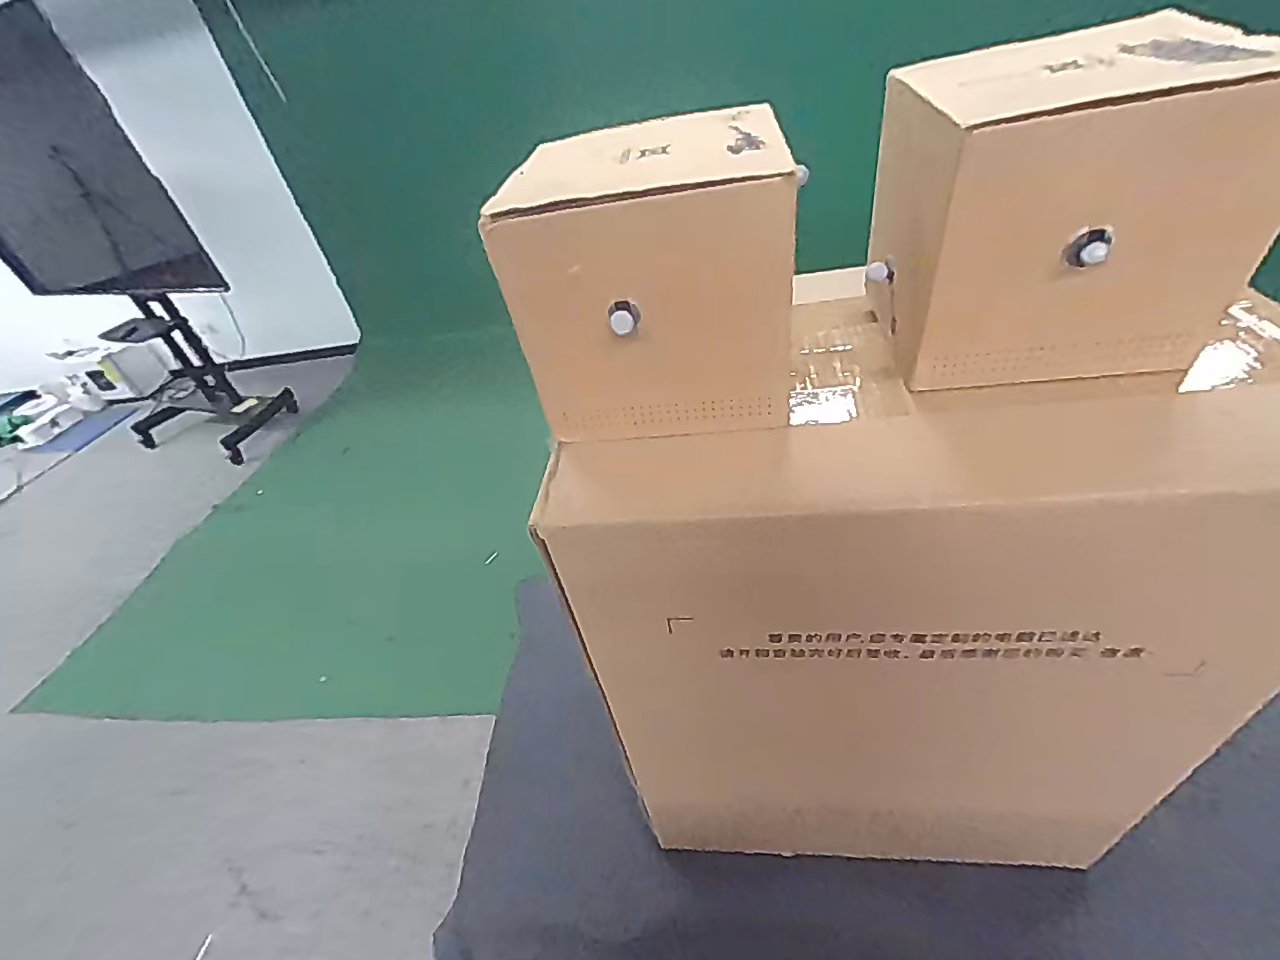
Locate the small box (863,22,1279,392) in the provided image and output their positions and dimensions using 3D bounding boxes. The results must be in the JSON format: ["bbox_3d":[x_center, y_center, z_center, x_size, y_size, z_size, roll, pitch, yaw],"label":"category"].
[{"bbox_3d":[0.266,-0.178,0.370,0.179,0.176,0.168,-4,44,11],"label":"small box"}]

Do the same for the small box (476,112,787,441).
[{"bbox_3d":[0.012,-0.143,0.401,0.179,0.176,0.168,-4,44,11],"label":"small box"}]
